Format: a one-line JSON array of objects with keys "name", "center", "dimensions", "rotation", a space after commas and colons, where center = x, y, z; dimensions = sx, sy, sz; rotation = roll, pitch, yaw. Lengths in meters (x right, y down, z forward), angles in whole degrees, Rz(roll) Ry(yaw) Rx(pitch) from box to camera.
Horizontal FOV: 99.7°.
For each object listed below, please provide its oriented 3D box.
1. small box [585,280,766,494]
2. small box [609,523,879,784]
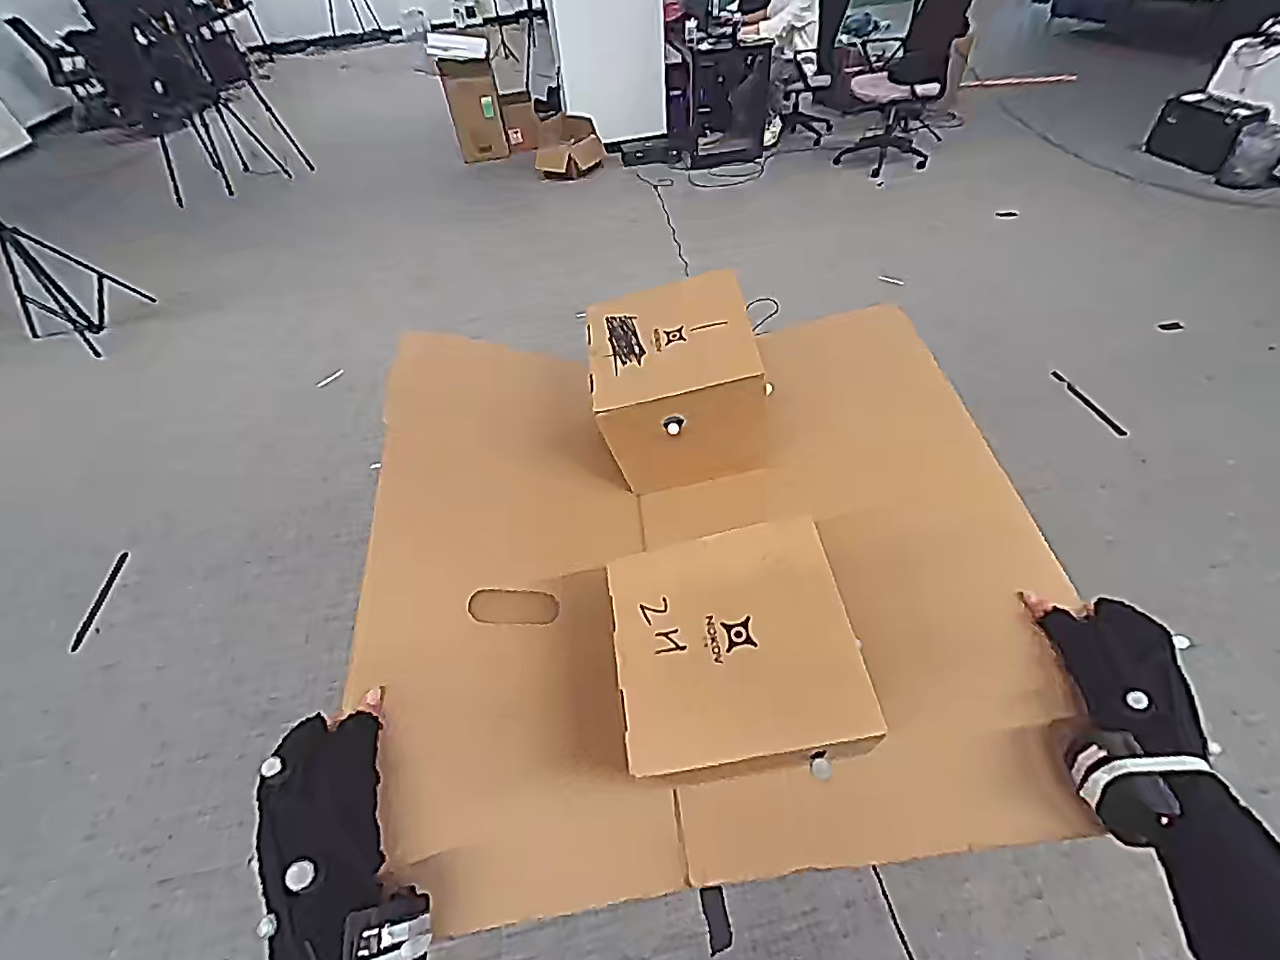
[{"name": "small box", "center": [0.045, -0.101, 0.650], "dimensions": [0.179, 0.176, 0.168], "rotation": [-13, 57, 9]}, {"name": "small box", "center": [0.086, 0.162, 0.477], "dimensions": [0.179, 0.176, 0.168], "rotation": [-15, 56, 9]}]
